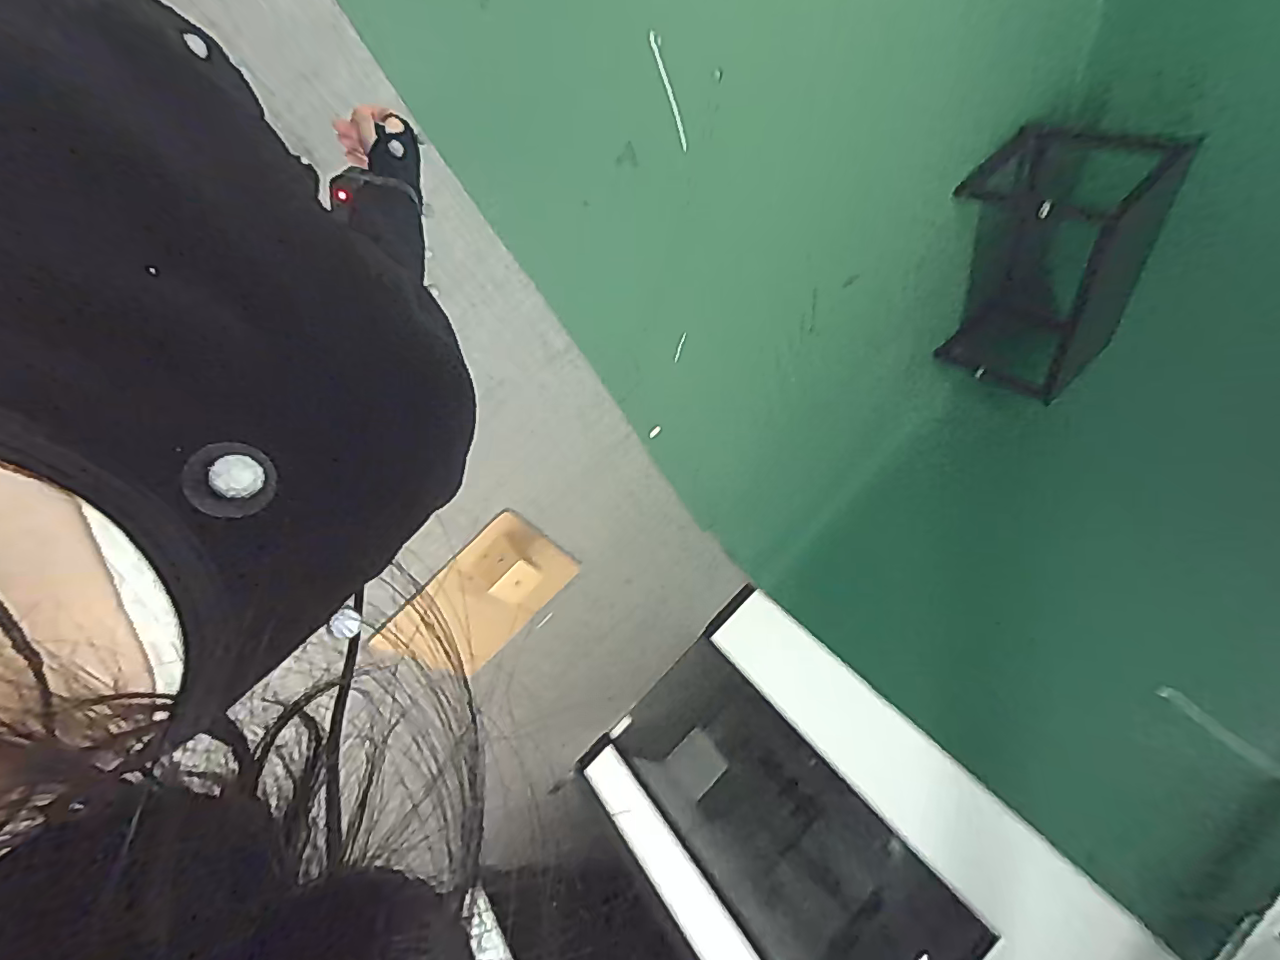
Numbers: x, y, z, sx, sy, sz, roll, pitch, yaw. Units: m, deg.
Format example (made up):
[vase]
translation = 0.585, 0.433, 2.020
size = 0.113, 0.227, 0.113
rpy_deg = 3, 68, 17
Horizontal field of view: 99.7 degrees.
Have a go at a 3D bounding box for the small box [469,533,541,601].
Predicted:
[small box]
translation = -0.522, 0.328, 2.071
size = 0.168, 0.176, 0.179
rpy_deg = -45, 143, -4
